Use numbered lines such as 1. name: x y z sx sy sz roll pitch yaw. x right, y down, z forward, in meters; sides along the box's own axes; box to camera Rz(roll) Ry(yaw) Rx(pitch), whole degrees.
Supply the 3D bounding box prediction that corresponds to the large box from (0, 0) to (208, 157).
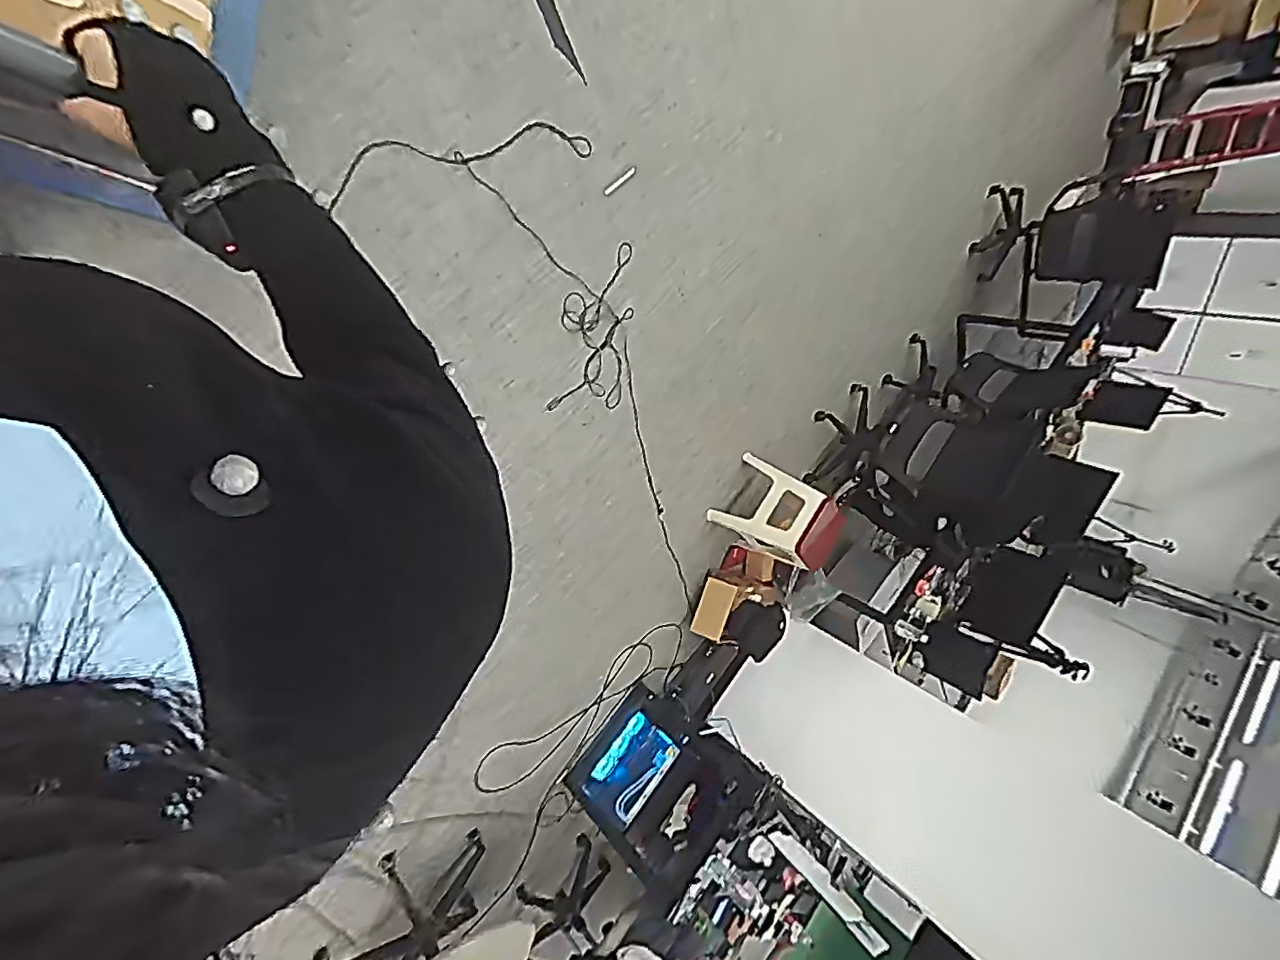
1. large box: -0.789 -0.647 0.639 0.408 0.320 0.320 6 105 -47
